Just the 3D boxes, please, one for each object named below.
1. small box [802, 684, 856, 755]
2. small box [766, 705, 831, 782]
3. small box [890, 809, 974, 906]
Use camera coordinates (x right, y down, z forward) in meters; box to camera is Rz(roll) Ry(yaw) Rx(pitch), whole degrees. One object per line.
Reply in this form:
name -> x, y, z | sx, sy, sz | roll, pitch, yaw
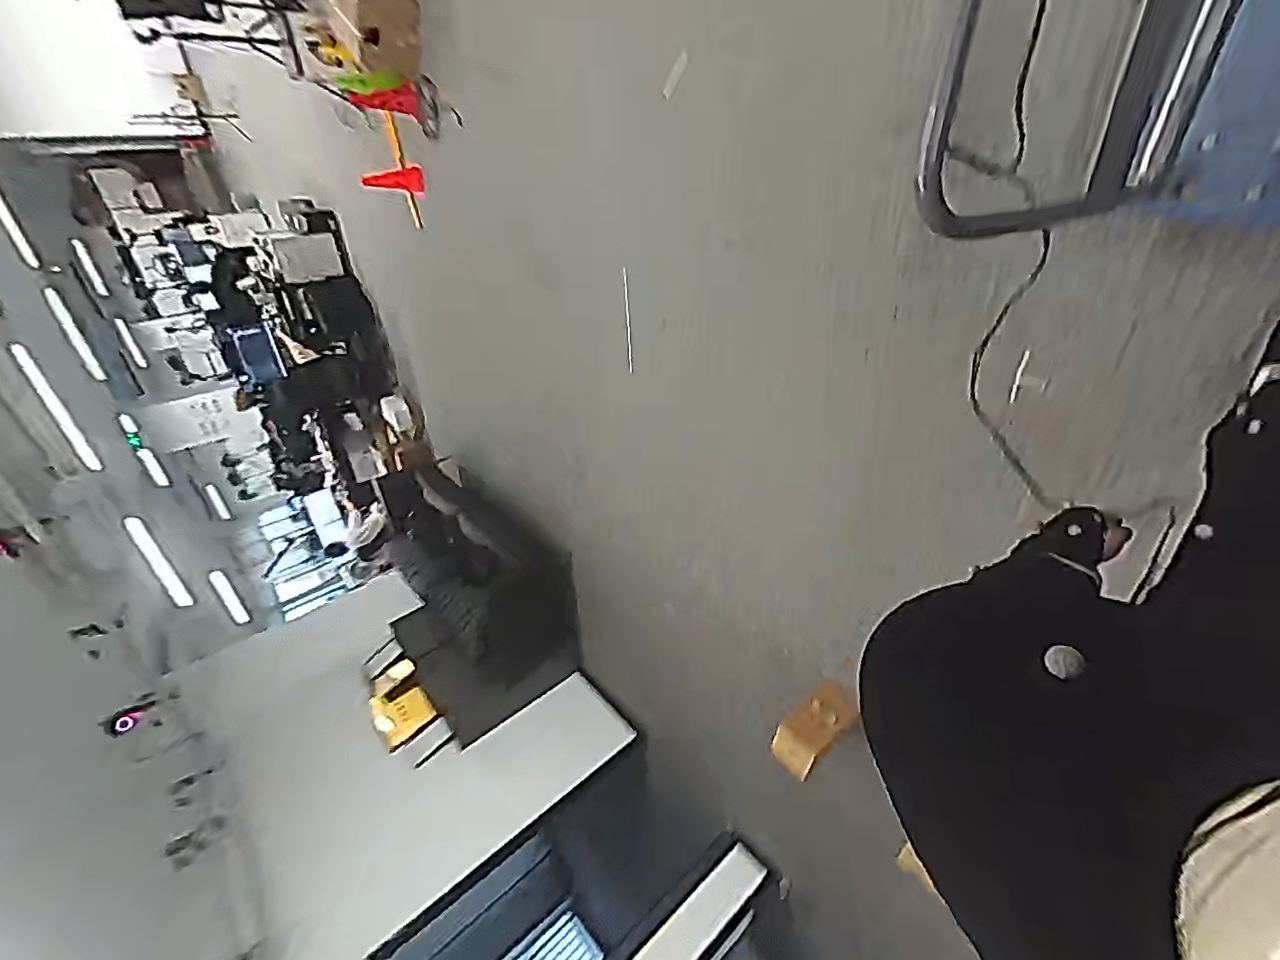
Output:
small box -> 0.749, 0.973, 2.201 | 0.168, 0.176, 0.179 | 39, 137, 31
small box -> 0.623, 1.029, 2.119 | 0.168, 0.176, 0.179 | 36, 137, 37
small box -> 0.964, 1.236, 1.779 | 0.168, 0.176, 0.179 | 35, 135, 38
